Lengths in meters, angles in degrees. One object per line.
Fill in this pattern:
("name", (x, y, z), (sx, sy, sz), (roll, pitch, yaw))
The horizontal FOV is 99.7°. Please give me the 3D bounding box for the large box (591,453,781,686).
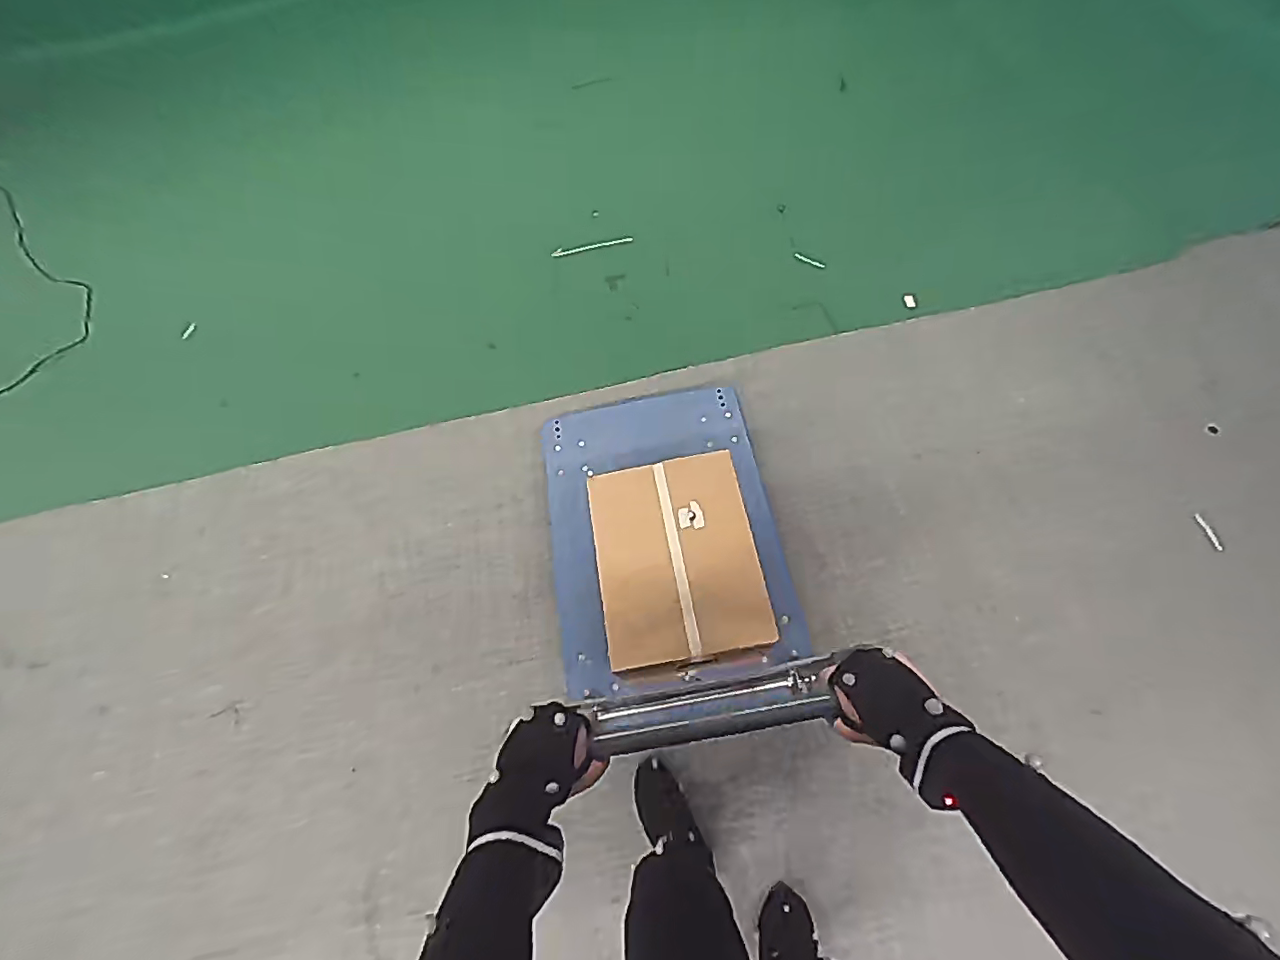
("large box", (0.094, 0.210, 1.204), (0.320, 0.320, 0.408), (-11, 63, 1))
